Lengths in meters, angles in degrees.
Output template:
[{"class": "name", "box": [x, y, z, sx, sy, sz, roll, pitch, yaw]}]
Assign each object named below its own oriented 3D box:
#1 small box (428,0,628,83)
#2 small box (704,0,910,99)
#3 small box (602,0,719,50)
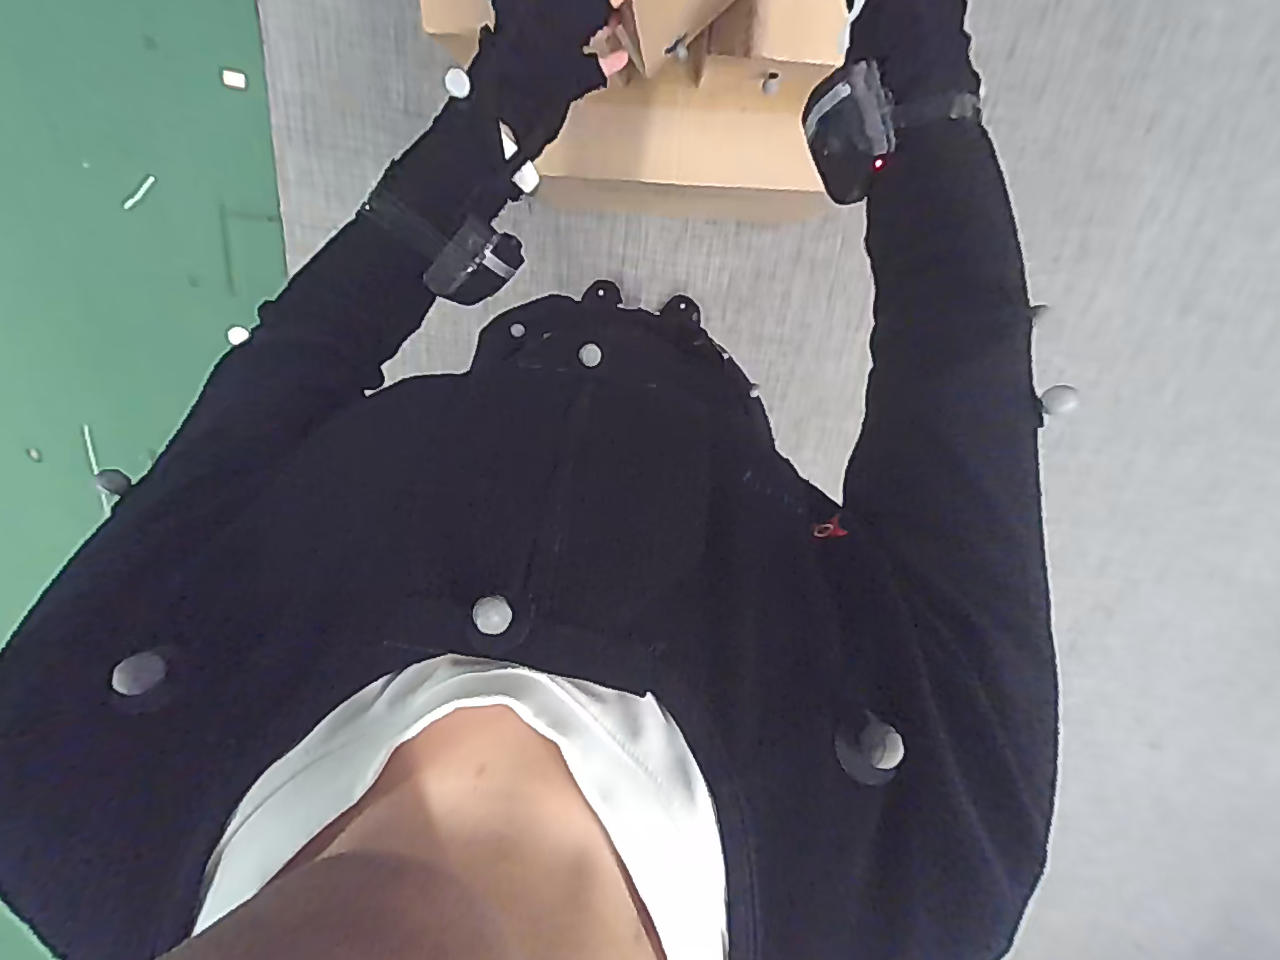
[{"class": "small box", "box": [-0.100, -0.518, 0.539, 0.179, 0.176, 0.168, 4, 114, 3]}, {"class": "small box", "box": [0.161, -0.495, 0.534, 0.179, 0.176, 0.168, 6, 116, 1]}, {"class": "small box", "box": [0.018, -0.452, 0.379, 0.168, 0.176, 0.179, -34, 106, 16]}]
